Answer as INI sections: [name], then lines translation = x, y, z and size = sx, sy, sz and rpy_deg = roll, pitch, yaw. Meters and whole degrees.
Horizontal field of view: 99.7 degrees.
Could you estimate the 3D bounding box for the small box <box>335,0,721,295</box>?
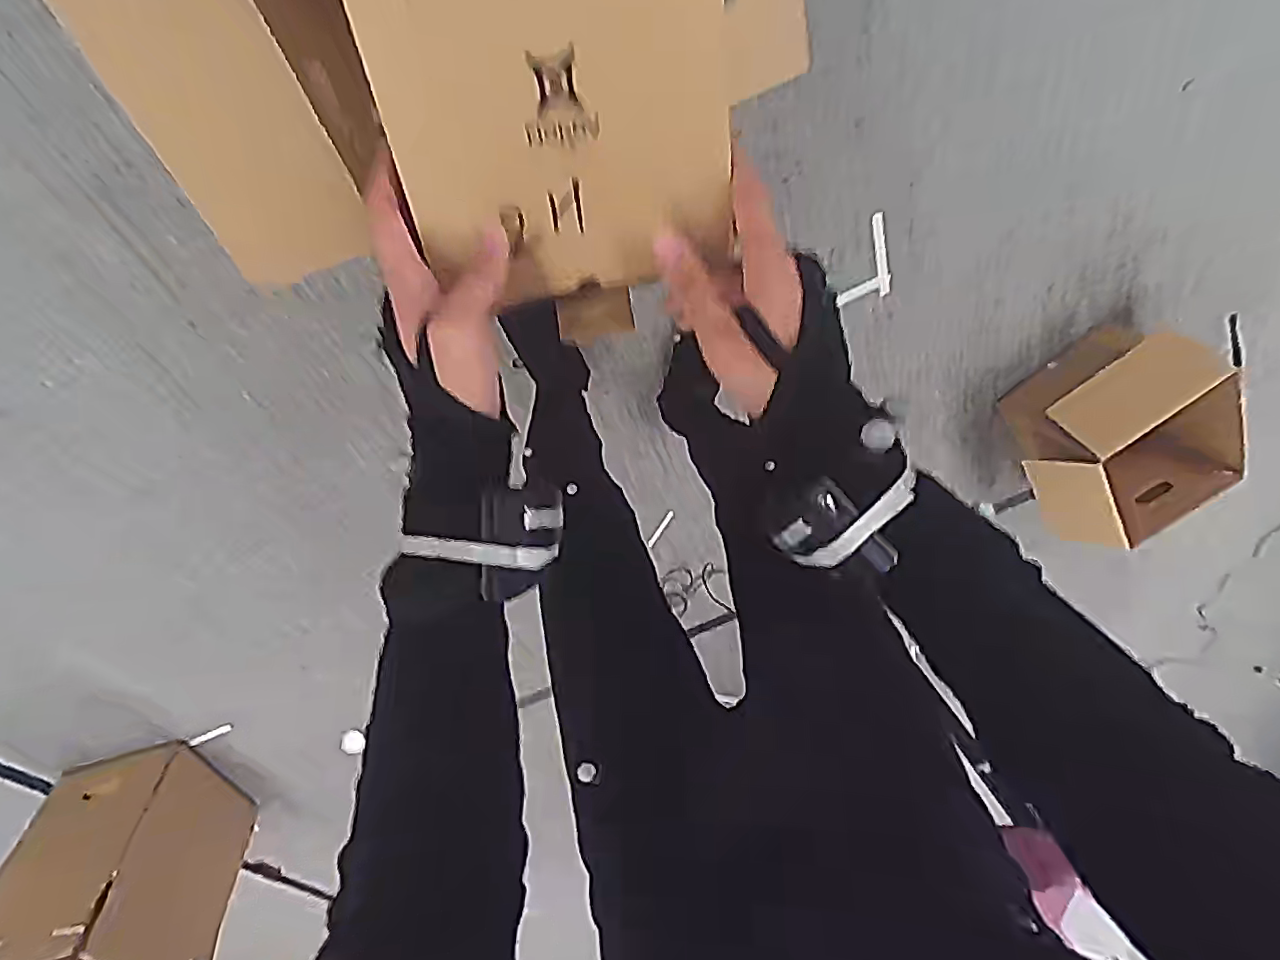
[small box]
translation = -0.054, -0.227, 0.318
size = 0.168, 0.176, 0.179
rpy_deg = -9, 123, -1
